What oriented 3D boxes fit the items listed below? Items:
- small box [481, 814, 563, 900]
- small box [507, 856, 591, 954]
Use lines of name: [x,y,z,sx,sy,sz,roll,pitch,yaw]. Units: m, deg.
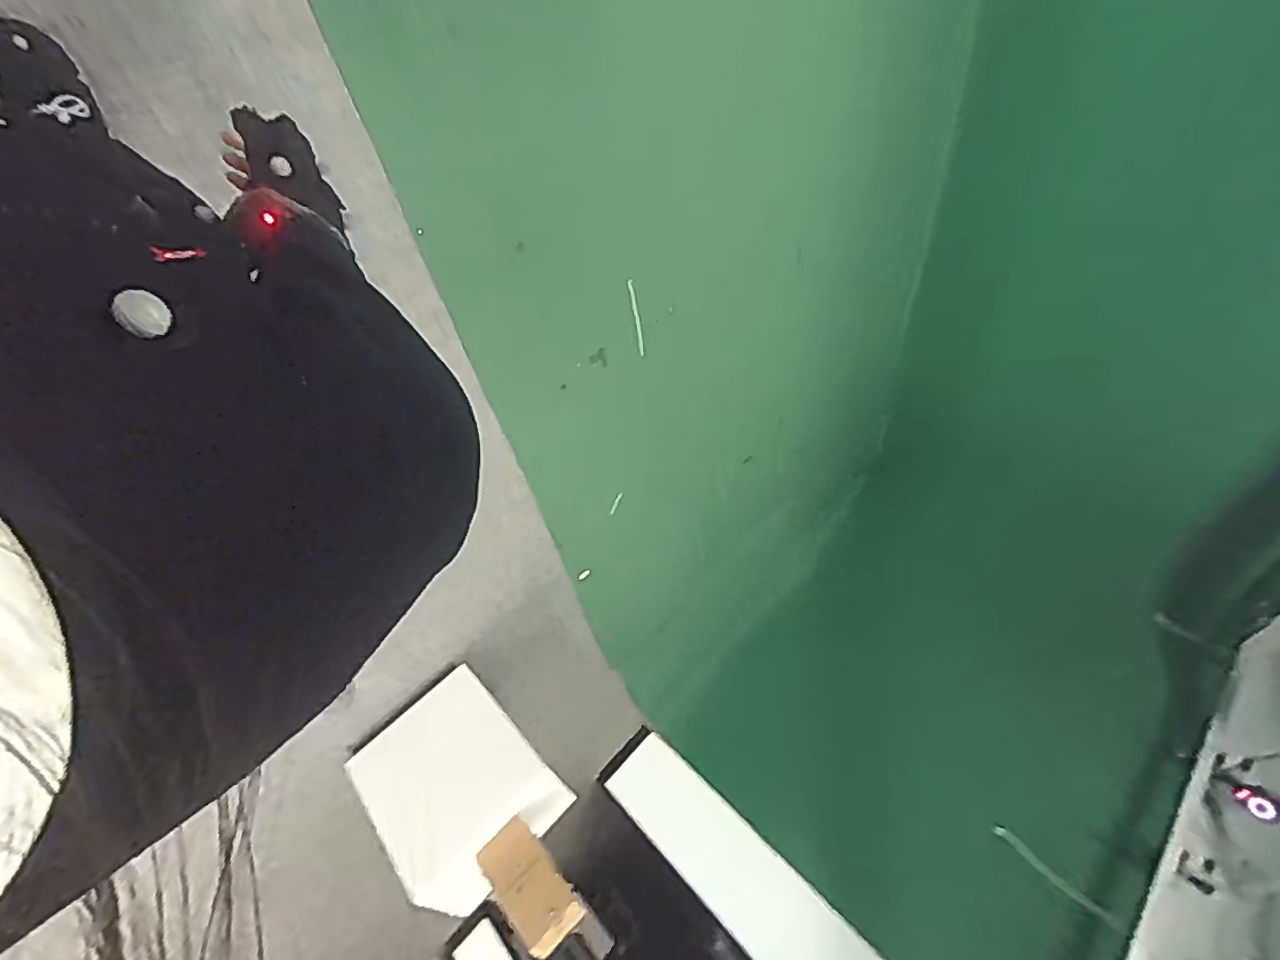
small box: [-0.387,1.240,1.771,0.179,0.176,0.168,-38,139,-24]
small box: [-0.281,1.312,1.674,0.168,0.176,0.179,-39,139,-22]
